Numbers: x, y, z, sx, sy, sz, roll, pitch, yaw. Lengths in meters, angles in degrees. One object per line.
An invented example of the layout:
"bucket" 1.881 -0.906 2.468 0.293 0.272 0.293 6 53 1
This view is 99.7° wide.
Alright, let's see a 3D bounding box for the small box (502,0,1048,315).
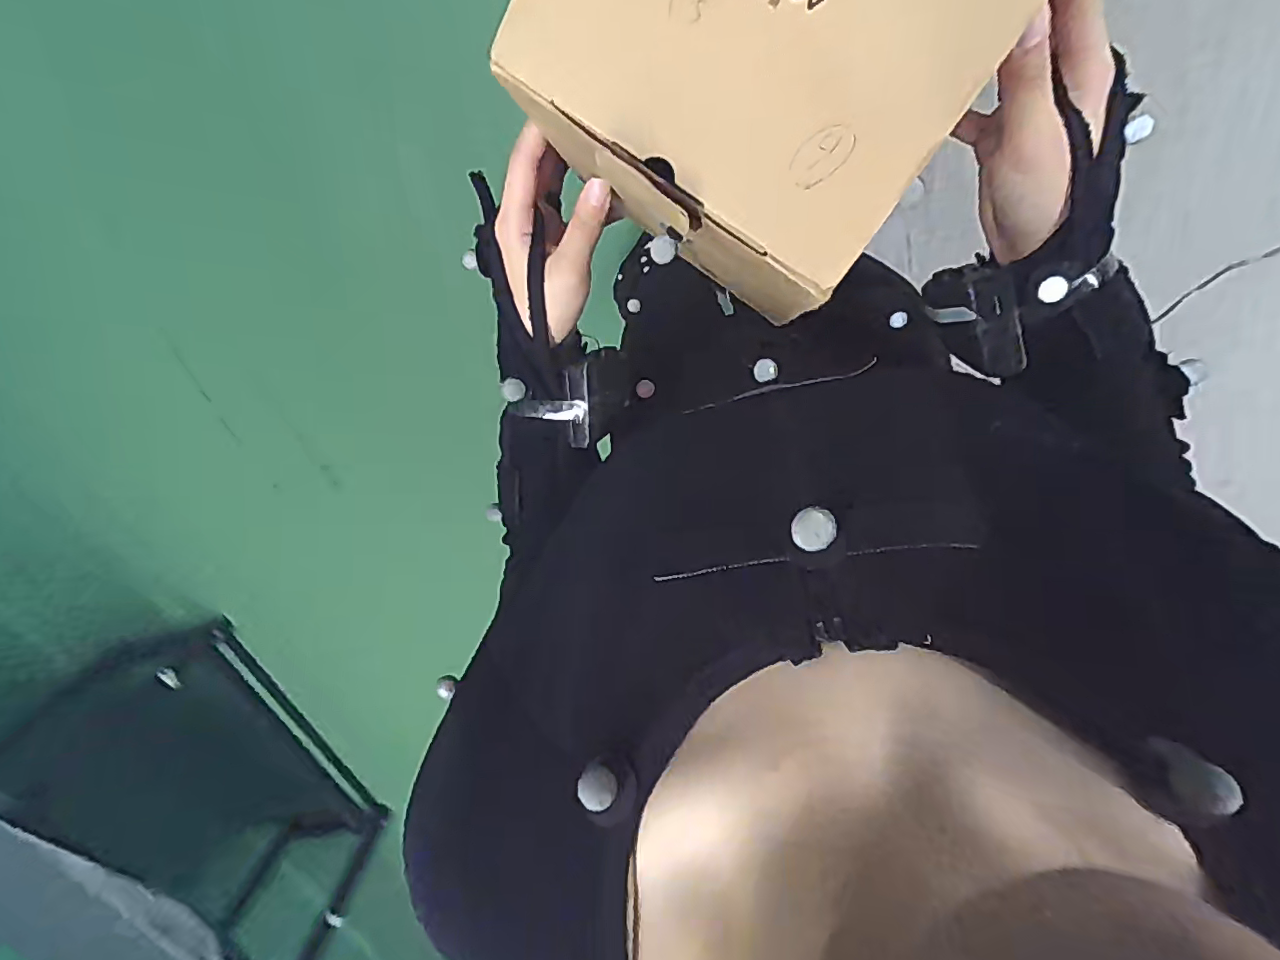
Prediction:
"small box" 0.068 -0.202 0.276 0.168 0.176 0.179 35 106 0
